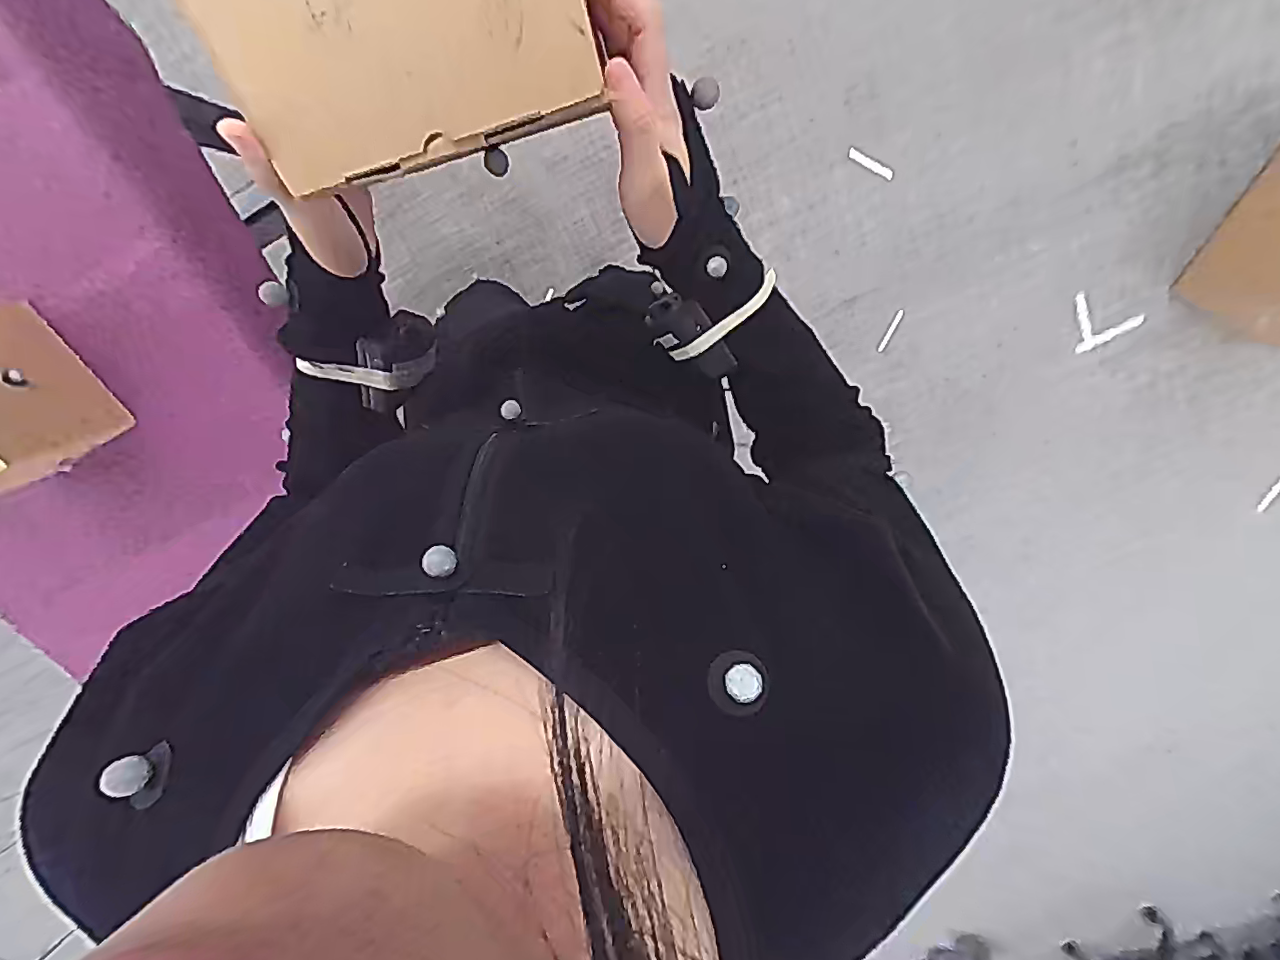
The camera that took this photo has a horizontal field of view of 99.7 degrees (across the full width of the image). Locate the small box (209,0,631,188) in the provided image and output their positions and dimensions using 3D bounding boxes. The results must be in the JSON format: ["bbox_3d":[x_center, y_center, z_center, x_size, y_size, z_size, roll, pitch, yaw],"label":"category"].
[{"bbox_3d":[-0.103,-0.274,0.272,0.168,0.176,0.179,-11,124,9],"label":"small box"}]
